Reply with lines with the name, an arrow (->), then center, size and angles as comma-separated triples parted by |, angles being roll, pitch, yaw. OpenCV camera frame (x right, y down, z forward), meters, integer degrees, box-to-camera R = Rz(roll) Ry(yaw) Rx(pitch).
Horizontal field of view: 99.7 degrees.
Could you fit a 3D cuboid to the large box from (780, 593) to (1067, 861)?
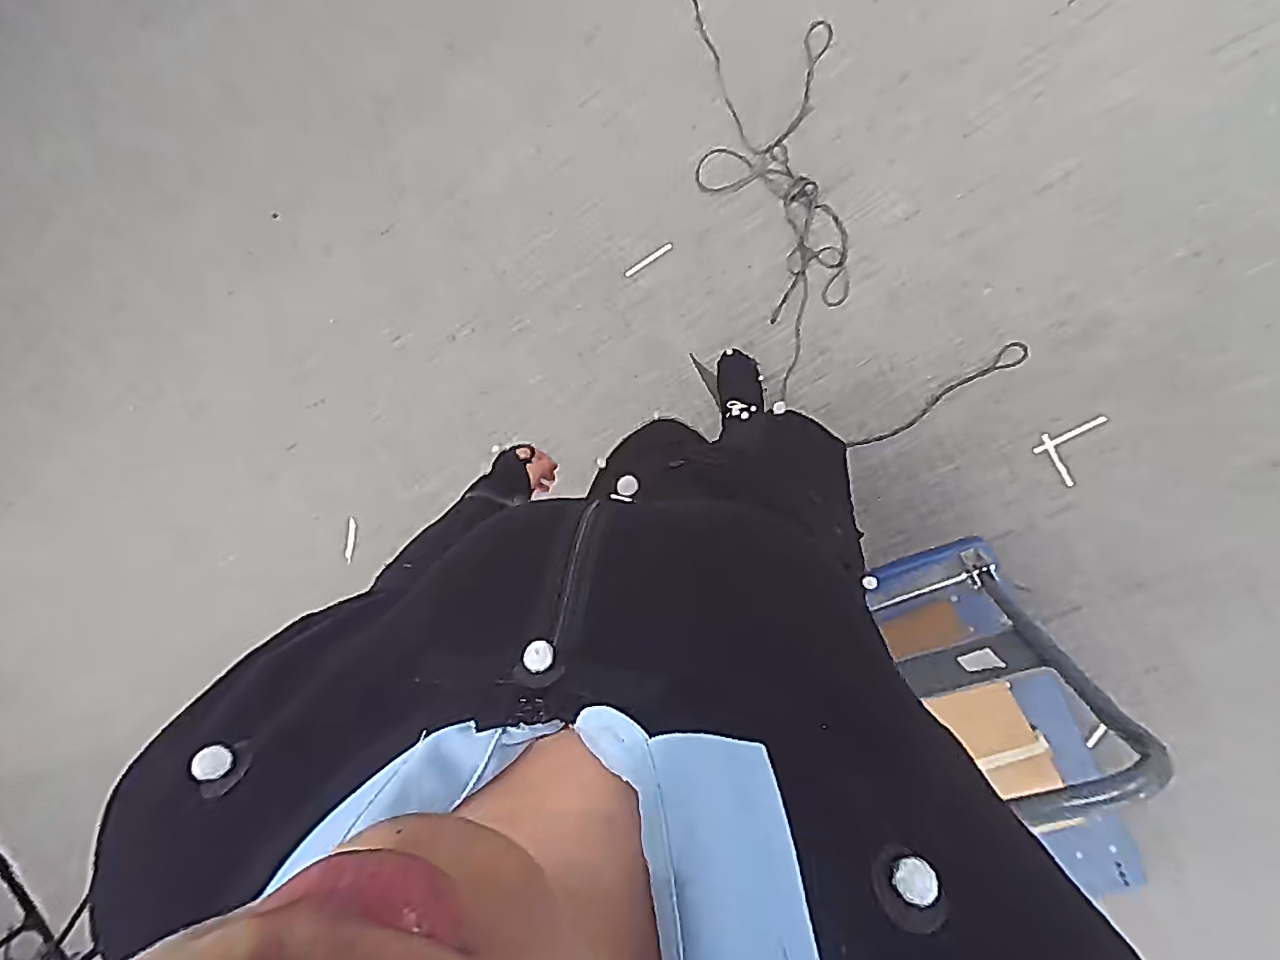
large box -> 0.550, 0.500, 1.139 | 0.408, 0.320, 0.320 | -30, 91, 19
